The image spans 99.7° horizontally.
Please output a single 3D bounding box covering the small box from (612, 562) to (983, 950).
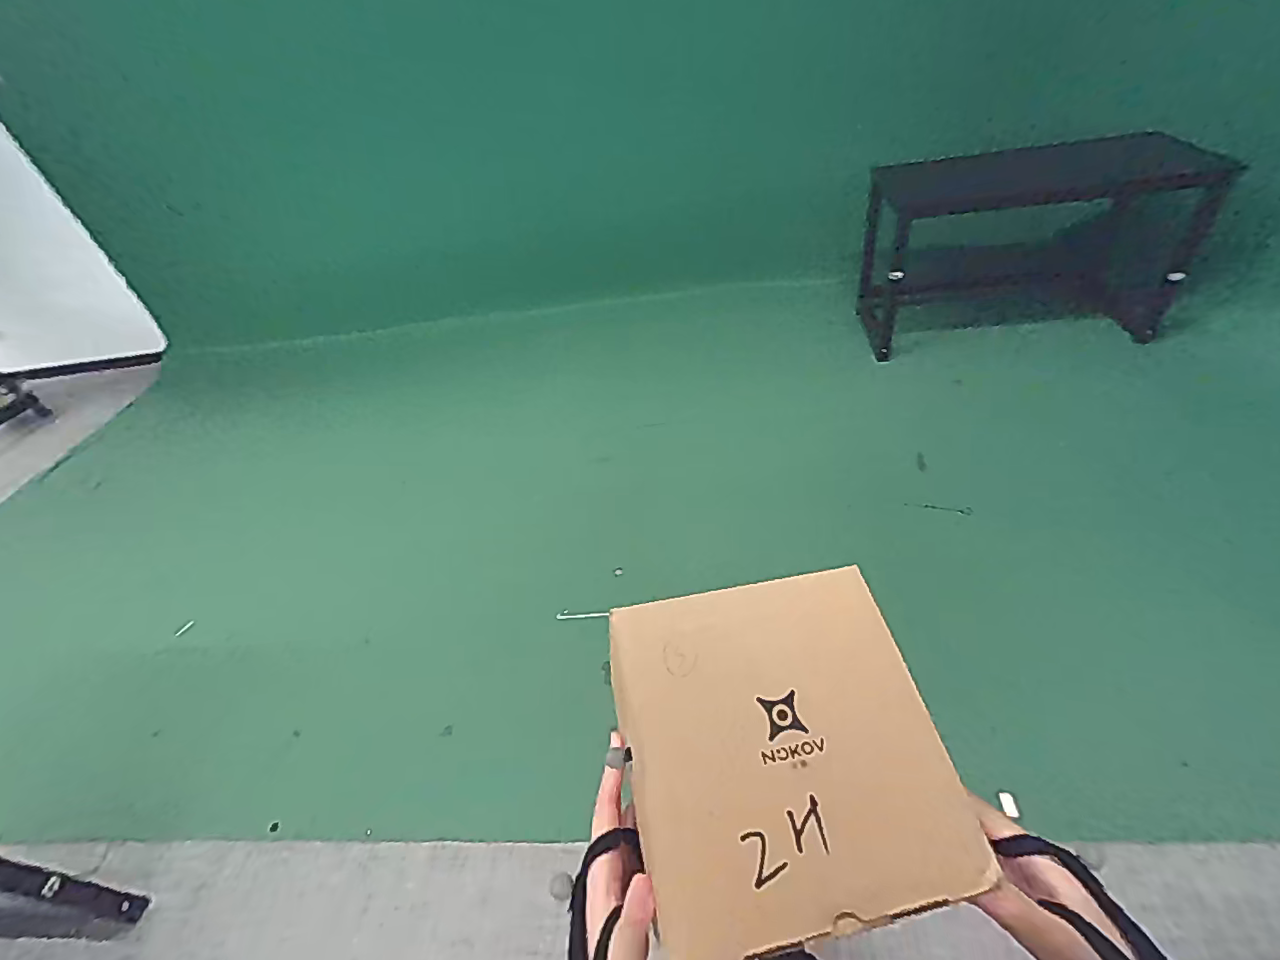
[{"bbox_3d":[0.073,0.179,0.369,0.168,0.176,0.179,-8,57,-8],"label":"small box"}]
